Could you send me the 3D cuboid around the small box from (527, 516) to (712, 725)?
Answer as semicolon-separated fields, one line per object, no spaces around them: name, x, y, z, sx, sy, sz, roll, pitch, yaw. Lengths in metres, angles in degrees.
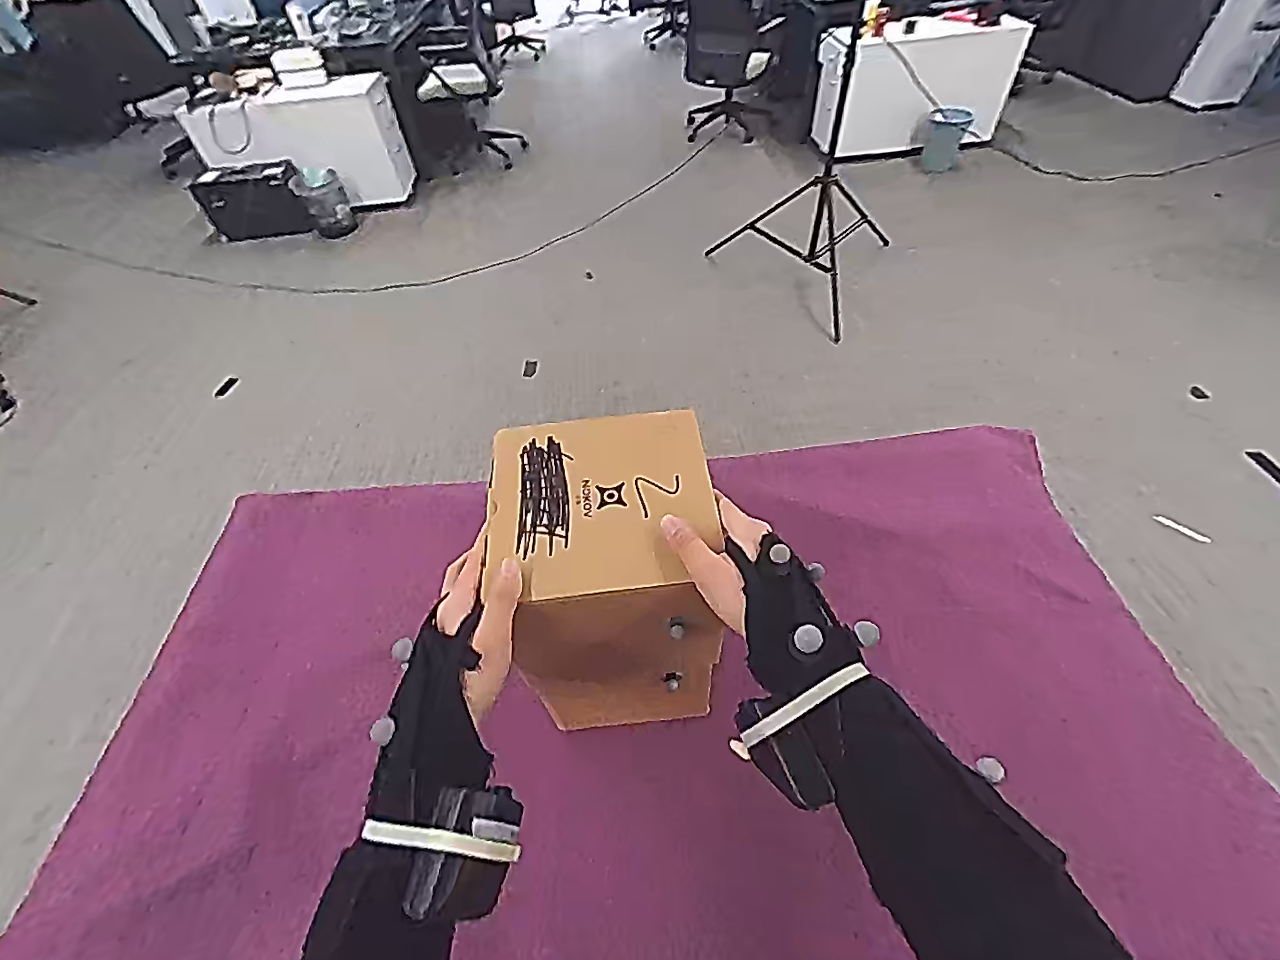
small box;-0.019;0.162;0.608;0.179;0.176;0.168;-6;49;-1
